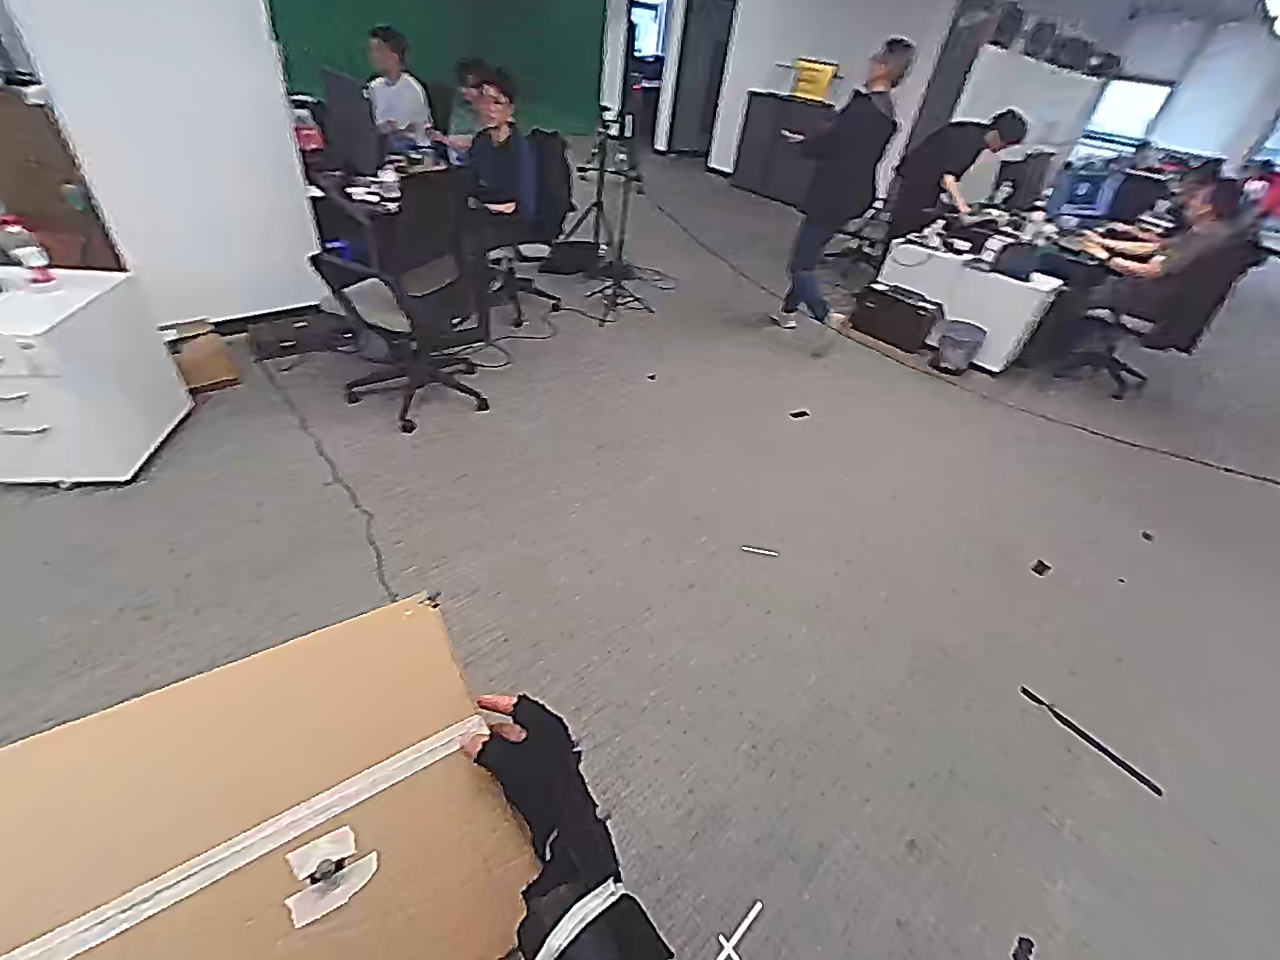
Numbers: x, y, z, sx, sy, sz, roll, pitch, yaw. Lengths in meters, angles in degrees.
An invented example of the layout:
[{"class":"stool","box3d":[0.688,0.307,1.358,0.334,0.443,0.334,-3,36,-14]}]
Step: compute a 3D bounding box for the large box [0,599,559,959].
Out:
[{"class":"large box","box3d":[-0.336,0.385,0.508,0.408,0.320,0.320,-18,55,-31]}]
